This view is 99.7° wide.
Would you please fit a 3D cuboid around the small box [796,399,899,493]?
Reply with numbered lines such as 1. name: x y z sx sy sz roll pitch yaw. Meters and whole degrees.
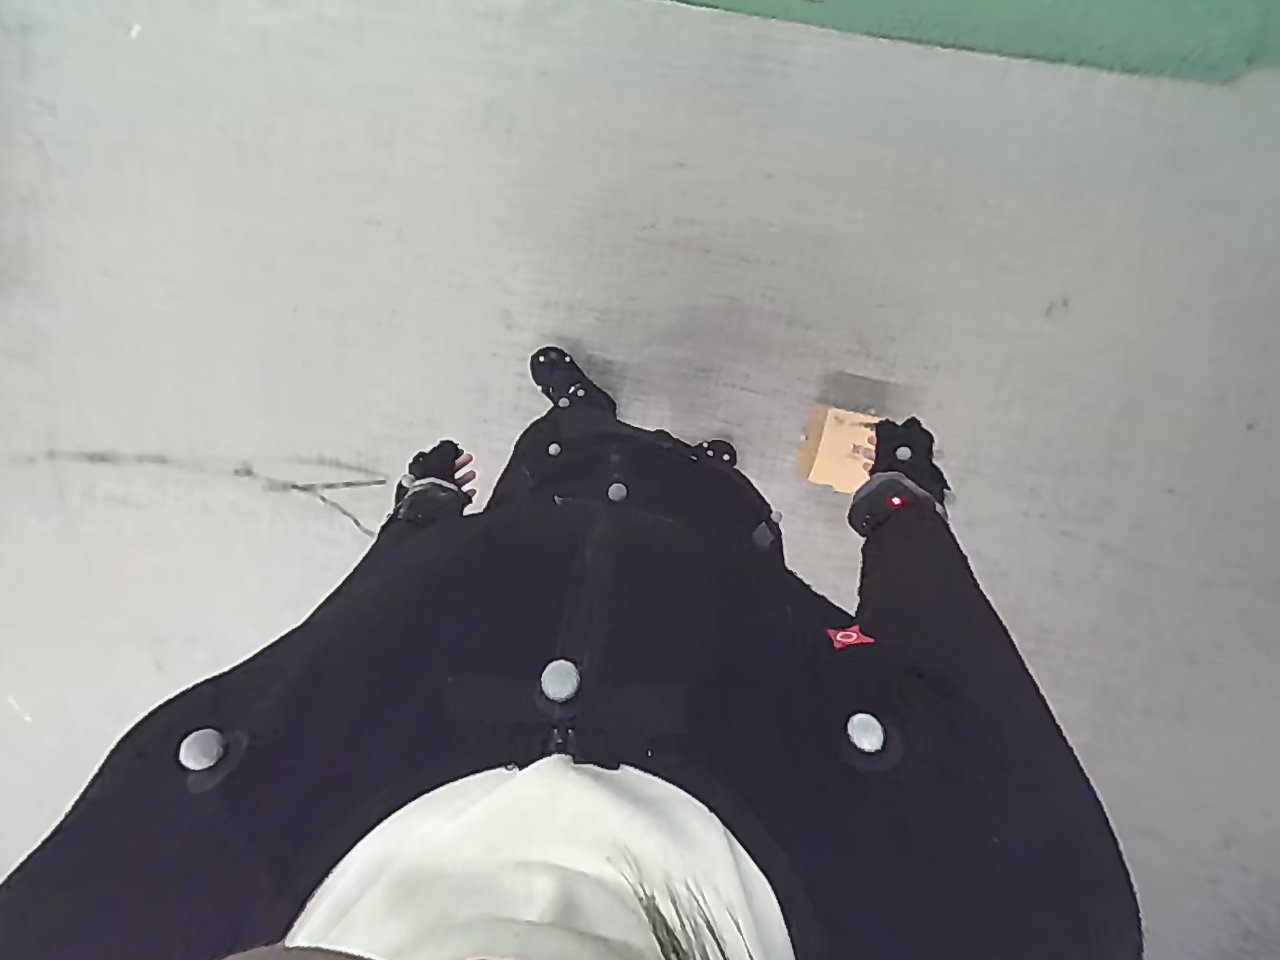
1. small box: 0.484 -0.088 1.292 0.168 0.176 0.179 14 103 2
